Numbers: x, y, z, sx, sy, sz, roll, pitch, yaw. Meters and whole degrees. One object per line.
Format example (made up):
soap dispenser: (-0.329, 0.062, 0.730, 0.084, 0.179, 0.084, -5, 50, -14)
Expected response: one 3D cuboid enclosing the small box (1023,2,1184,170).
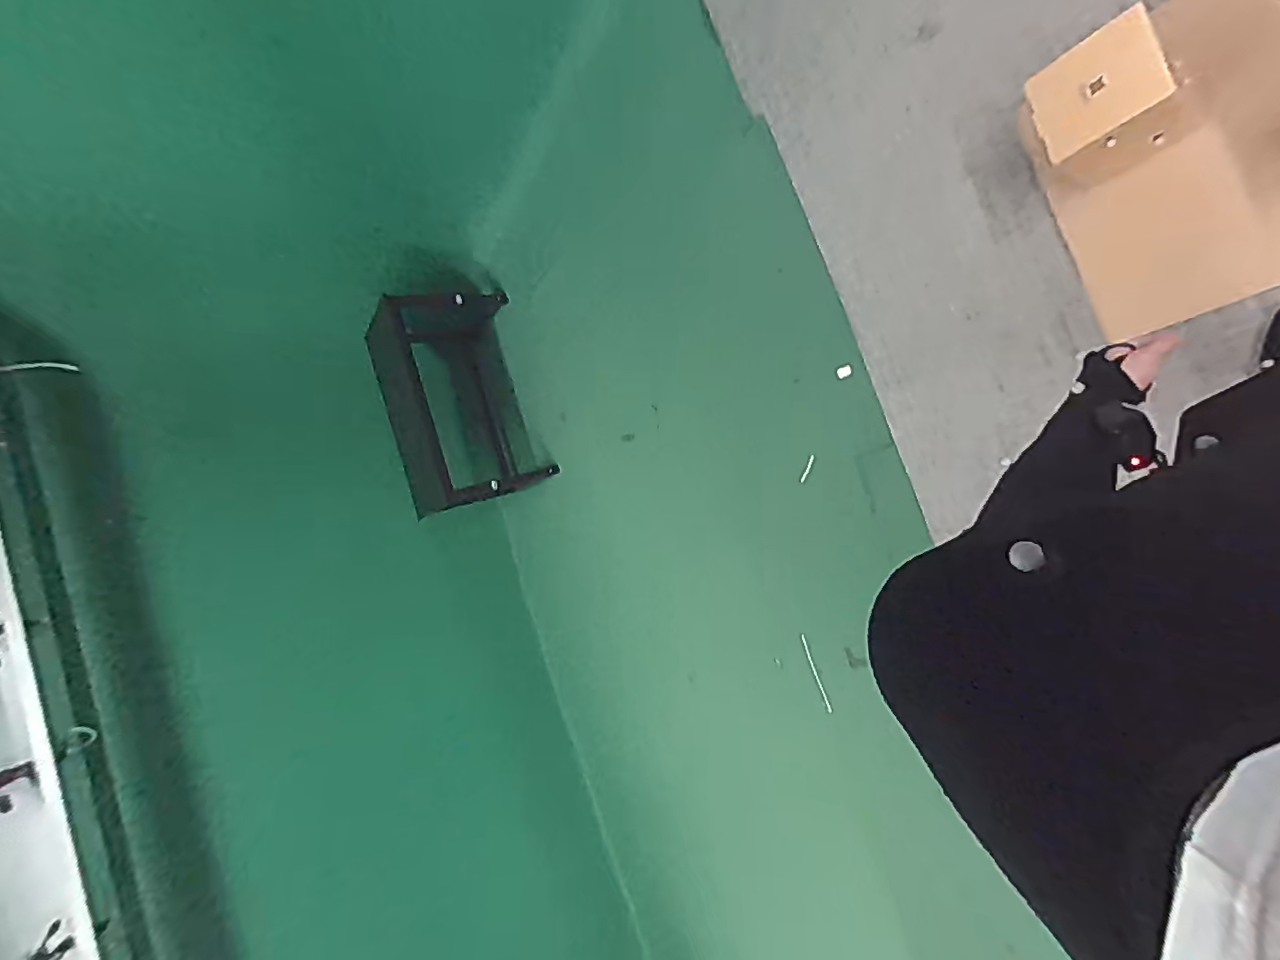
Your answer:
small box: (0.854, -0.706, 0.993, 0.179, 0.176, 0.168, -23, 85, 53)
